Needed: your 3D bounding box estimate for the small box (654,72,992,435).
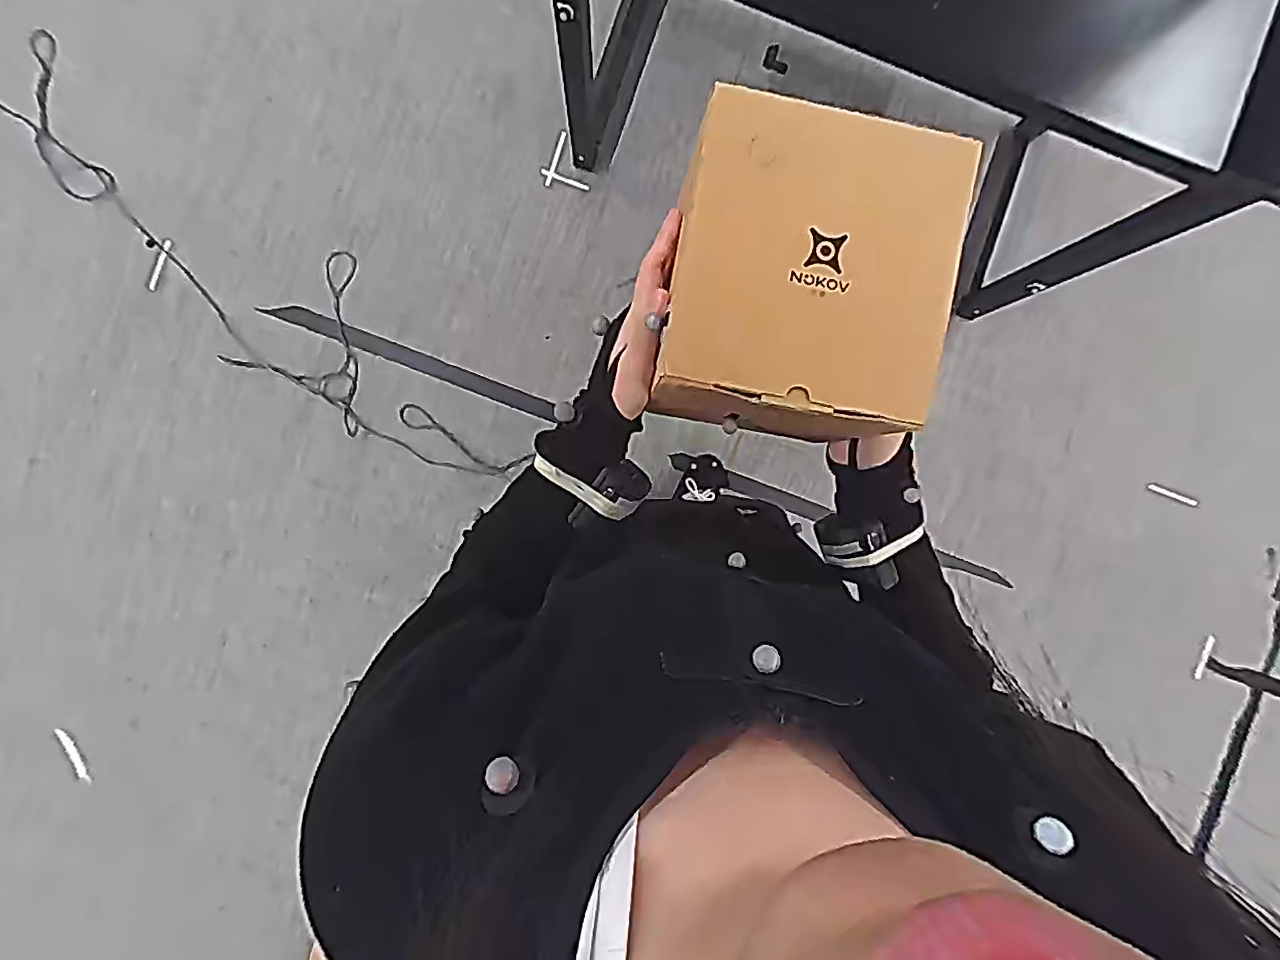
[{"bbox_3d":[0.107,-0.135,0.392,0.168,0.176,0.179,9,91,-4],"label":"small box"}]
